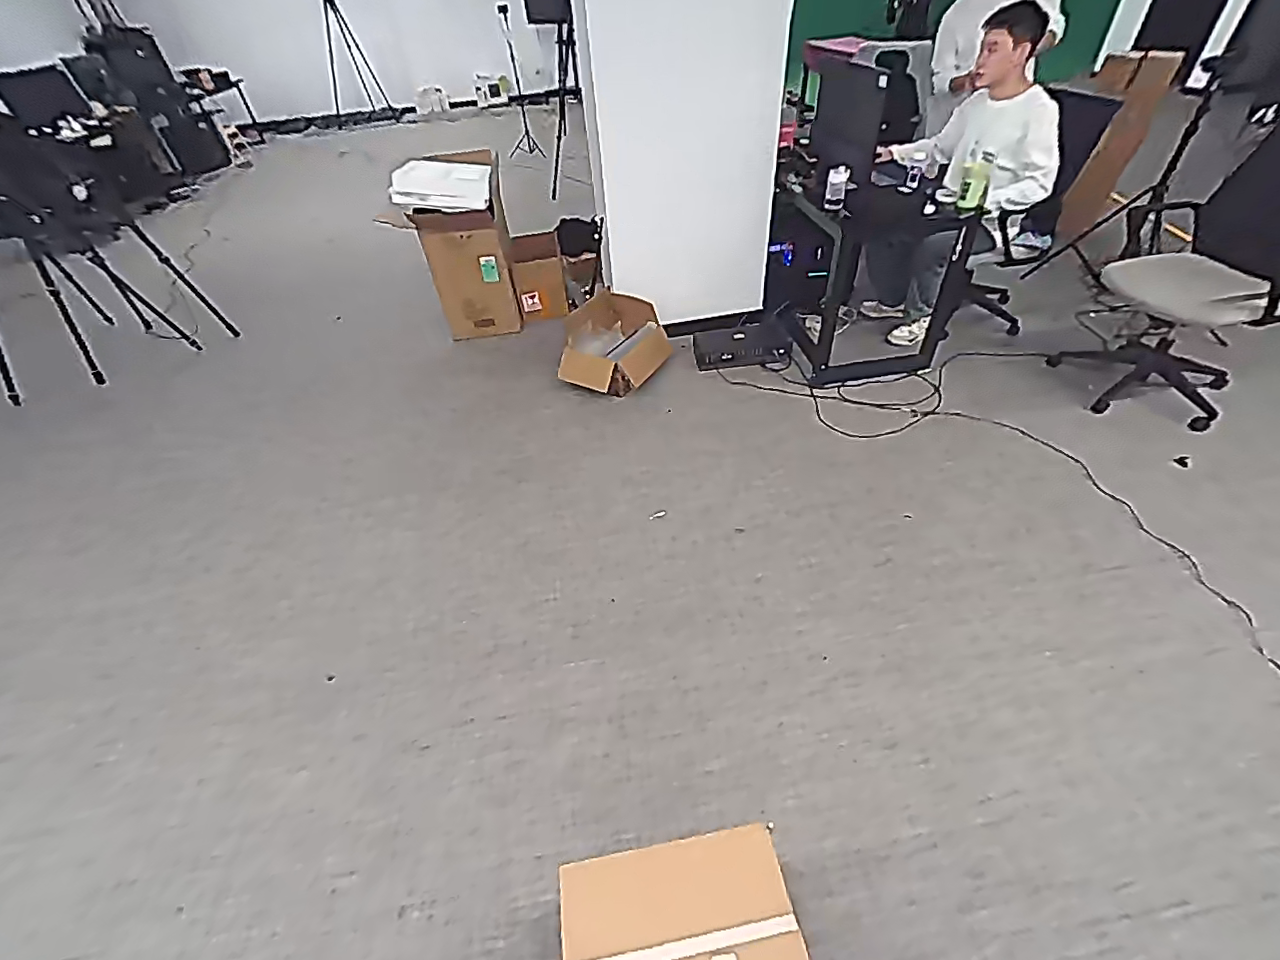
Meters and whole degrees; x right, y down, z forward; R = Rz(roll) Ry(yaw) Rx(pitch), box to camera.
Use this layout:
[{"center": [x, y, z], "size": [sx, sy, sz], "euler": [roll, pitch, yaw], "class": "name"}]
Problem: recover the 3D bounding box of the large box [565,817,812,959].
[{"center": [0.089, 0.899, 1.021], "size": [0.408, 0.320, 0.320], "euler": [-9, 44, -5], "class": "large box"}]
